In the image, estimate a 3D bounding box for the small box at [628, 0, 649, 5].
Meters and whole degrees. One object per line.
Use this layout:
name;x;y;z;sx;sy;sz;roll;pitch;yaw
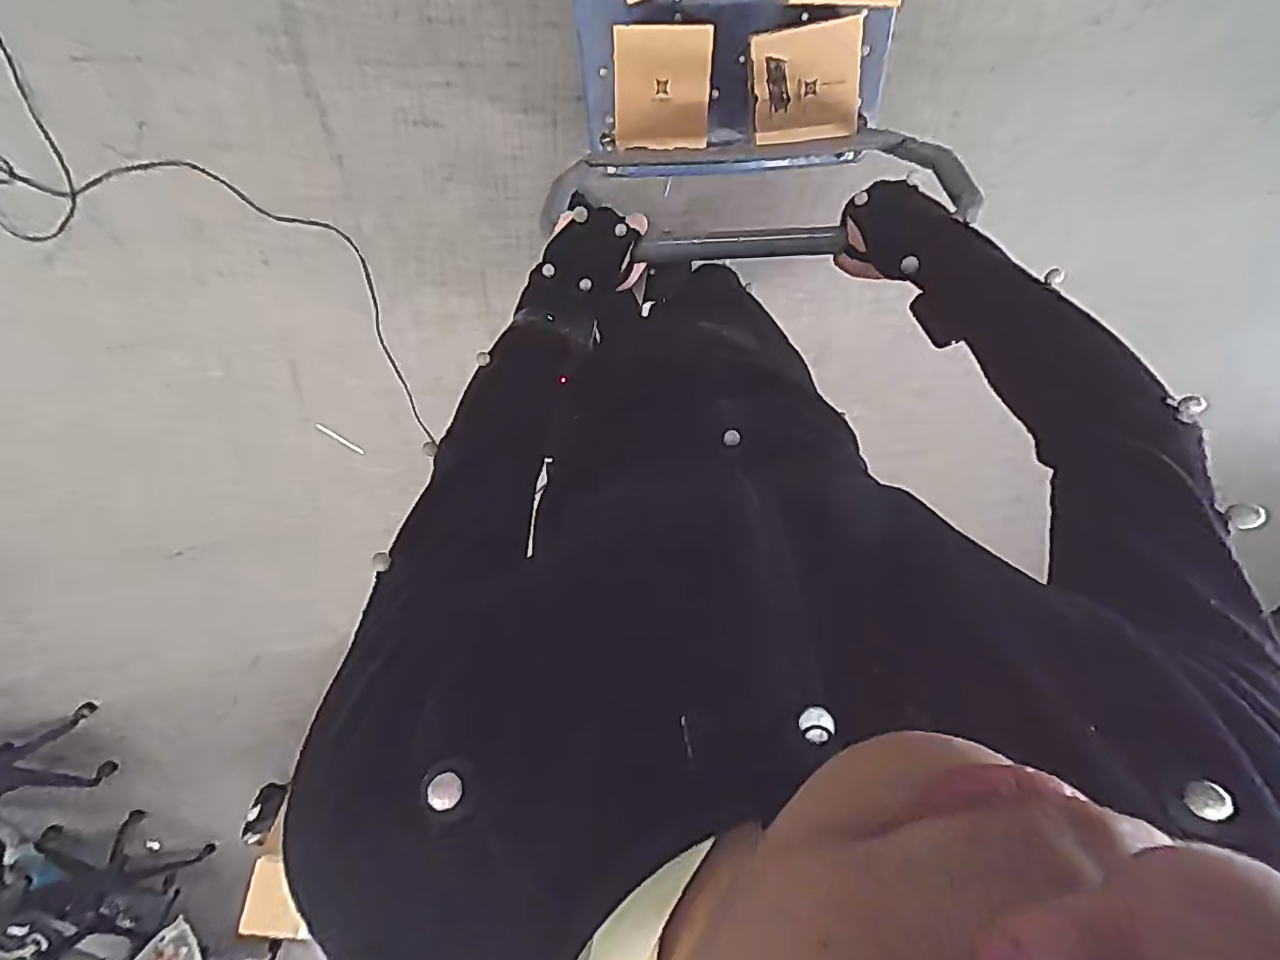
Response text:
small box;0.044;-0.884;0.848;0.168;0.176;0.179;-9;128;13

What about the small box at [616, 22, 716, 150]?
small box;0.046;-0.722;0.988;0.168;0.176;0.179;3;132;4
